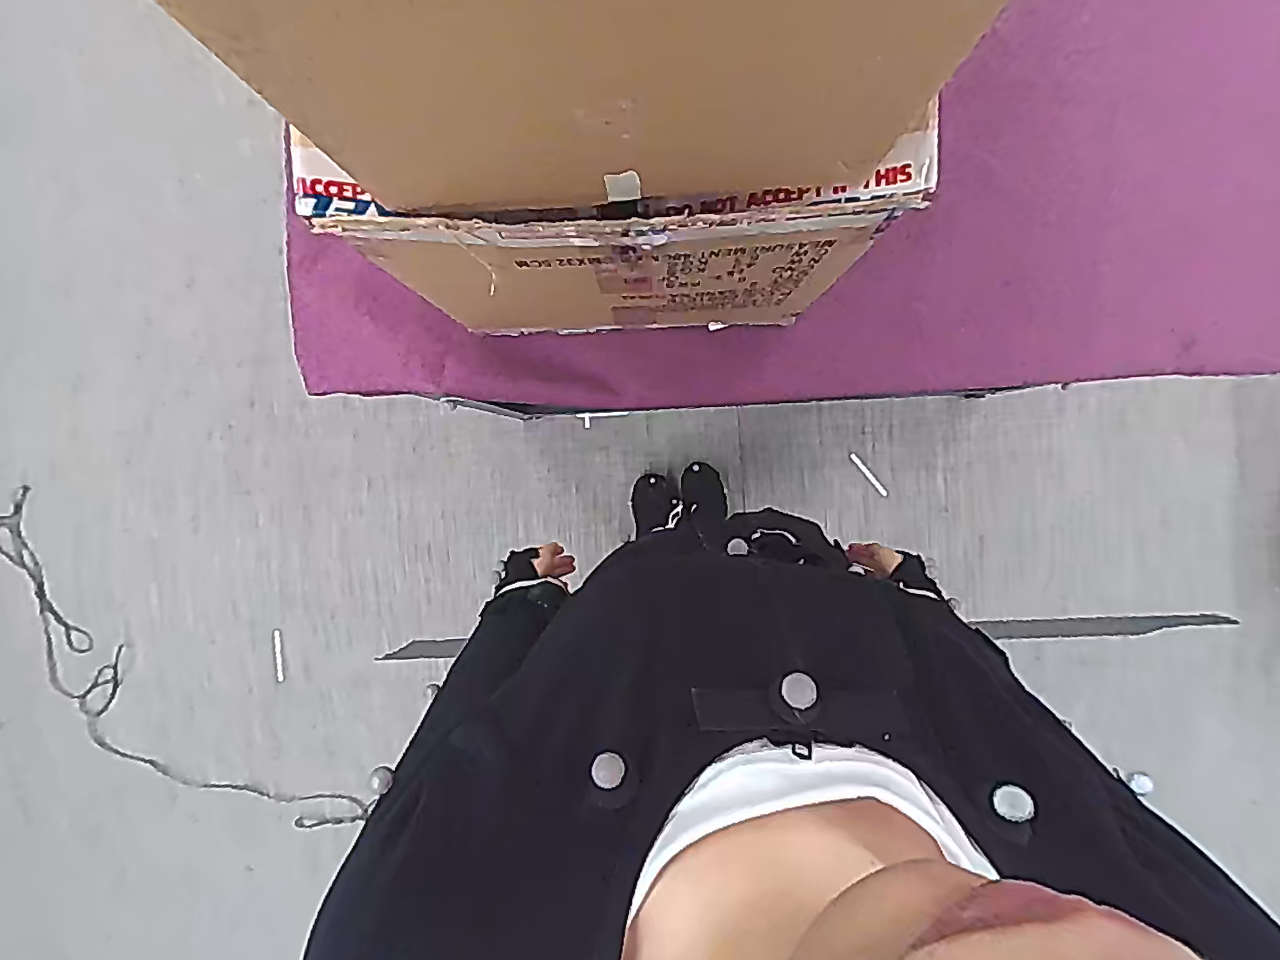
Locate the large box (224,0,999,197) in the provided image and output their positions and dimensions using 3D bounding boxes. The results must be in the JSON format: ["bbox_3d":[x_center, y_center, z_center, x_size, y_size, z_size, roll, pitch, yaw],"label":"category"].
[{"bbox_3d":[-0.017,-0.378,0.184,0.320,0.320,0.408,-3,93,3],"label":"large box"}]
